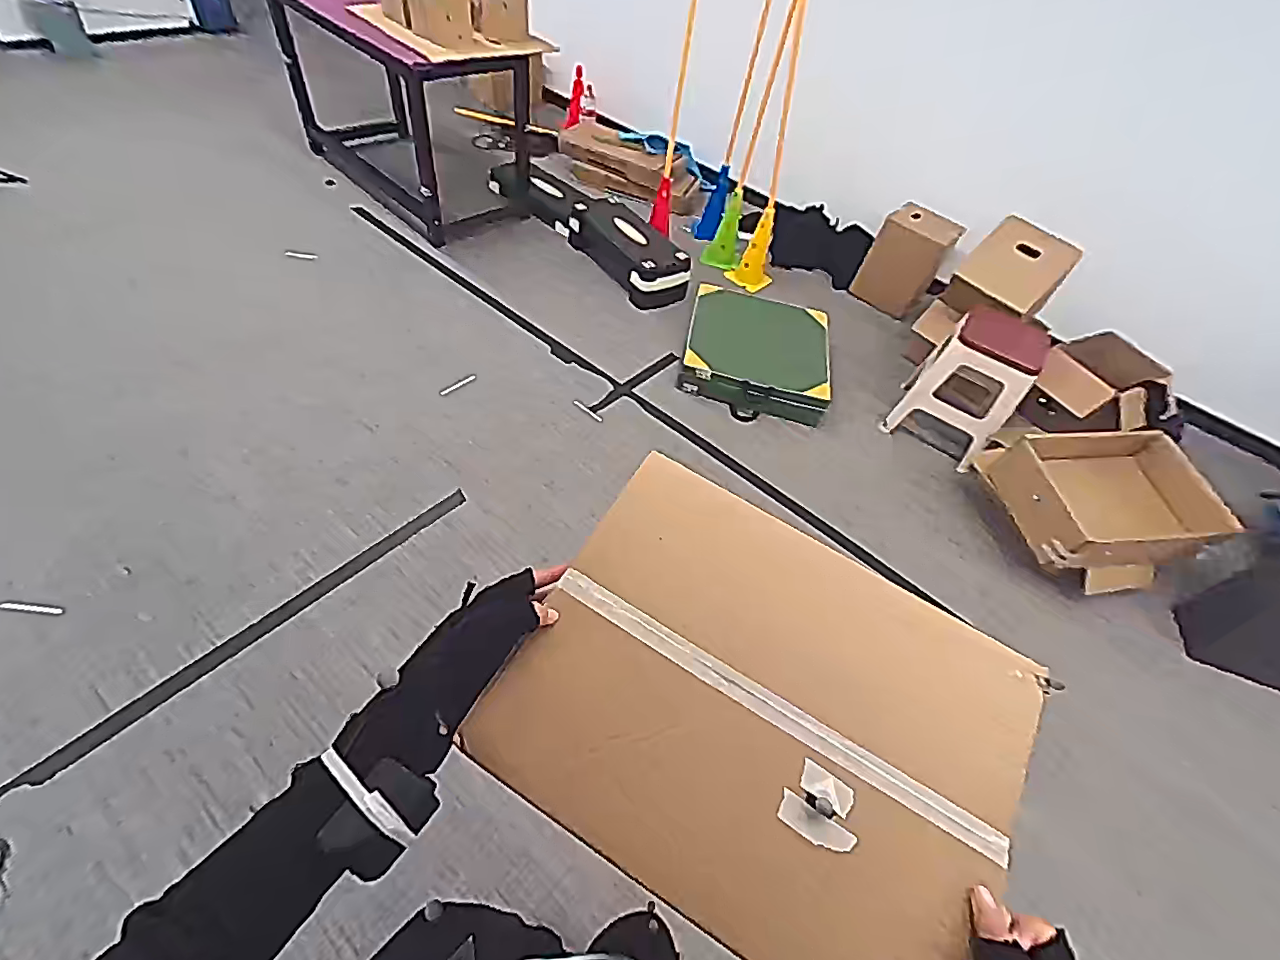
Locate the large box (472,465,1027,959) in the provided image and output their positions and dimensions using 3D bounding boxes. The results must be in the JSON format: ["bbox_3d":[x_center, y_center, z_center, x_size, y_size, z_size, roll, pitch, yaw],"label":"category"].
[{"bbox_3d":[0.095,0.256,0.595,0.408,0.320,0.320,31,66,10],"label":"large box"}]
